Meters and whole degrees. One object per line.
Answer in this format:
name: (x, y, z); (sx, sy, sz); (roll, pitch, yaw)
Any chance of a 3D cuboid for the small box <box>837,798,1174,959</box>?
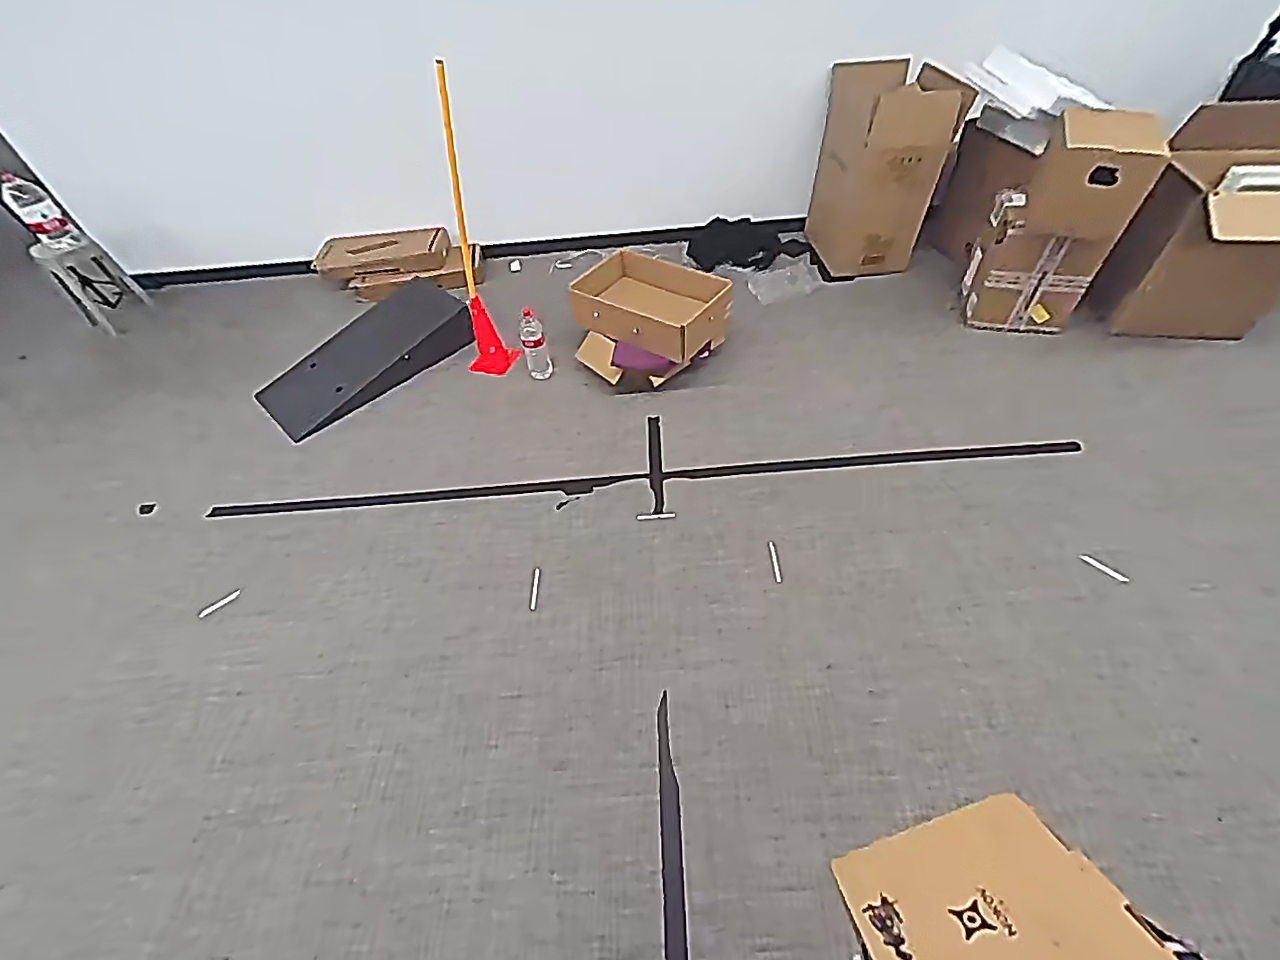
small box: (0.285, 0.399, 0.416); (0.179, 0.176, 0.168); (-21, 10, 1)
